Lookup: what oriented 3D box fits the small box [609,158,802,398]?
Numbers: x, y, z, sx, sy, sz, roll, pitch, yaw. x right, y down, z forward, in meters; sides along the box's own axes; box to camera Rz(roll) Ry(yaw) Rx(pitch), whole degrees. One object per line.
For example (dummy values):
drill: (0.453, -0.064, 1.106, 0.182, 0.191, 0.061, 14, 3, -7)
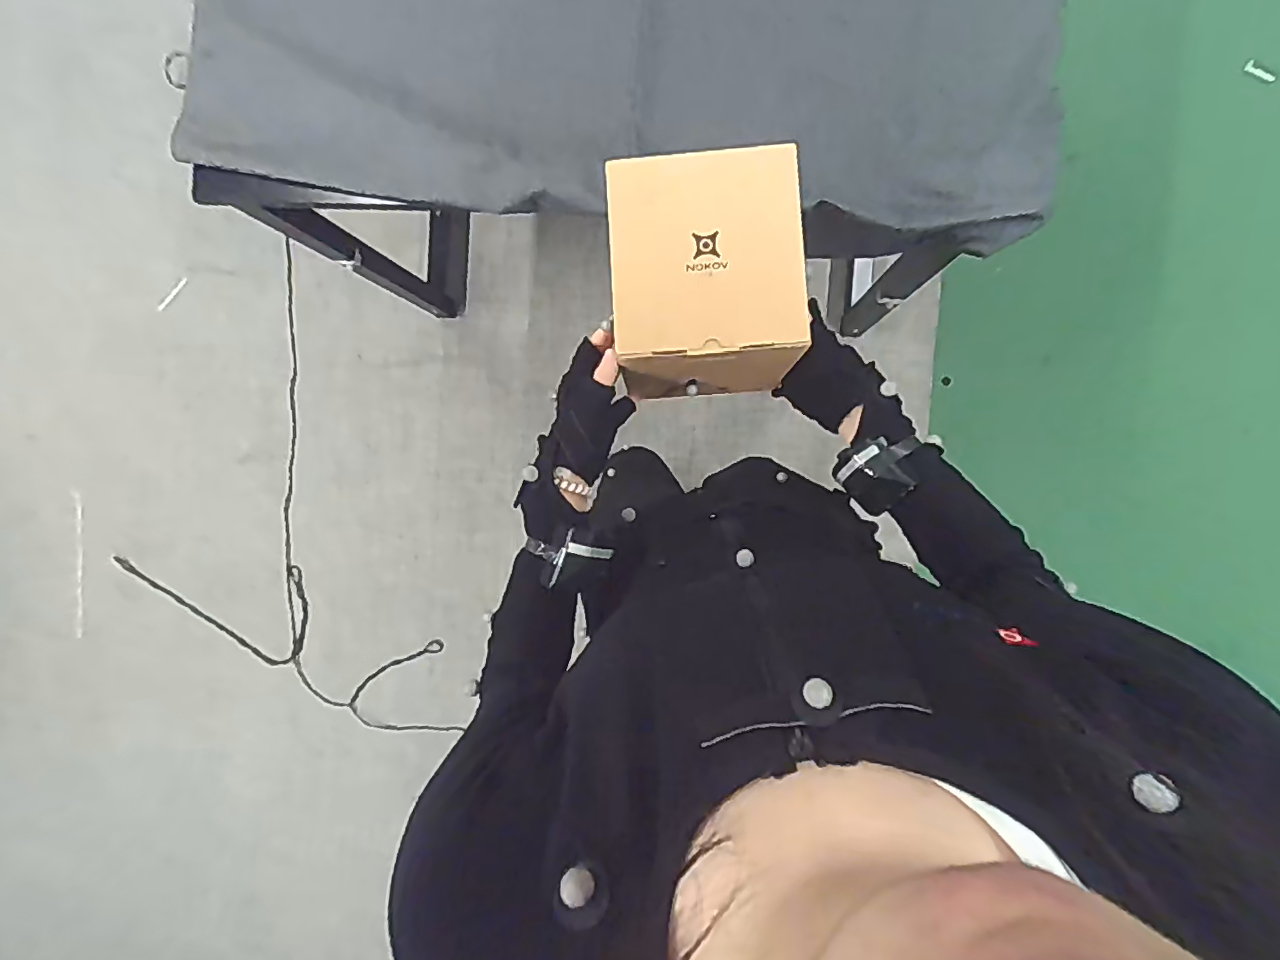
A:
small box: (0.059, -0.191, 0.555, 0.168, 0.176, 0.179, -3, 87, 3)
